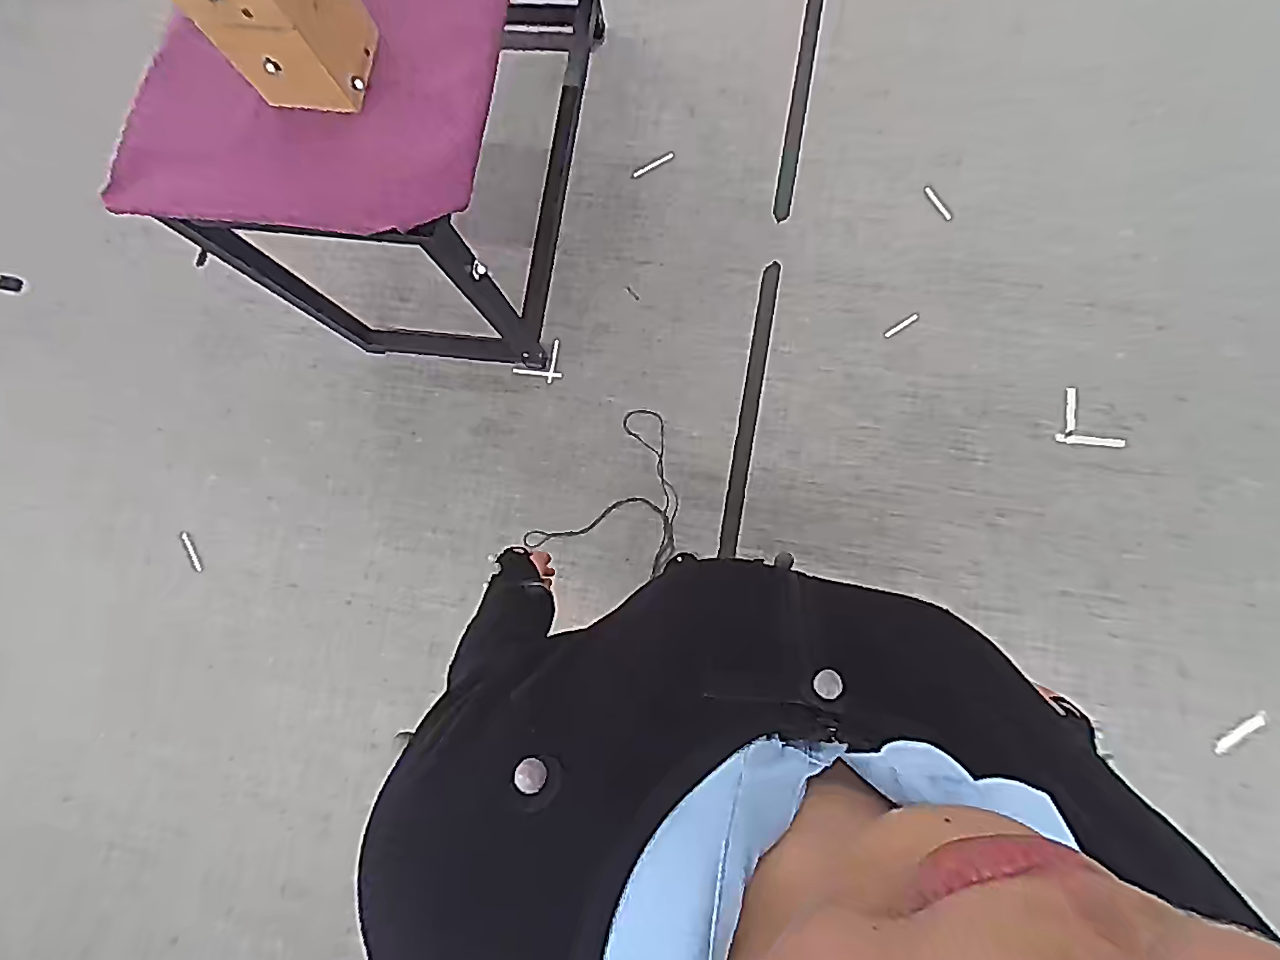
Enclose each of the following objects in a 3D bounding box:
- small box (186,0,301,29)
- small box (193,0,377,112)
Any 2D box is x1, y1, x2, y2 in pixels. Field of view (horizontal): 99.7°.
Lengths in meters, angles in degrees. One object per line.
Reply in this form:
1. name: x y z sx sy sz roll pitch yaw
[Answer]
1. small box: -0.579 -0.770 0.733 0.168 0.176 0.179 8 82 6
2. small box: -0.573 -0.751 0.897 0.179 0.176 0.168 8 82 6
